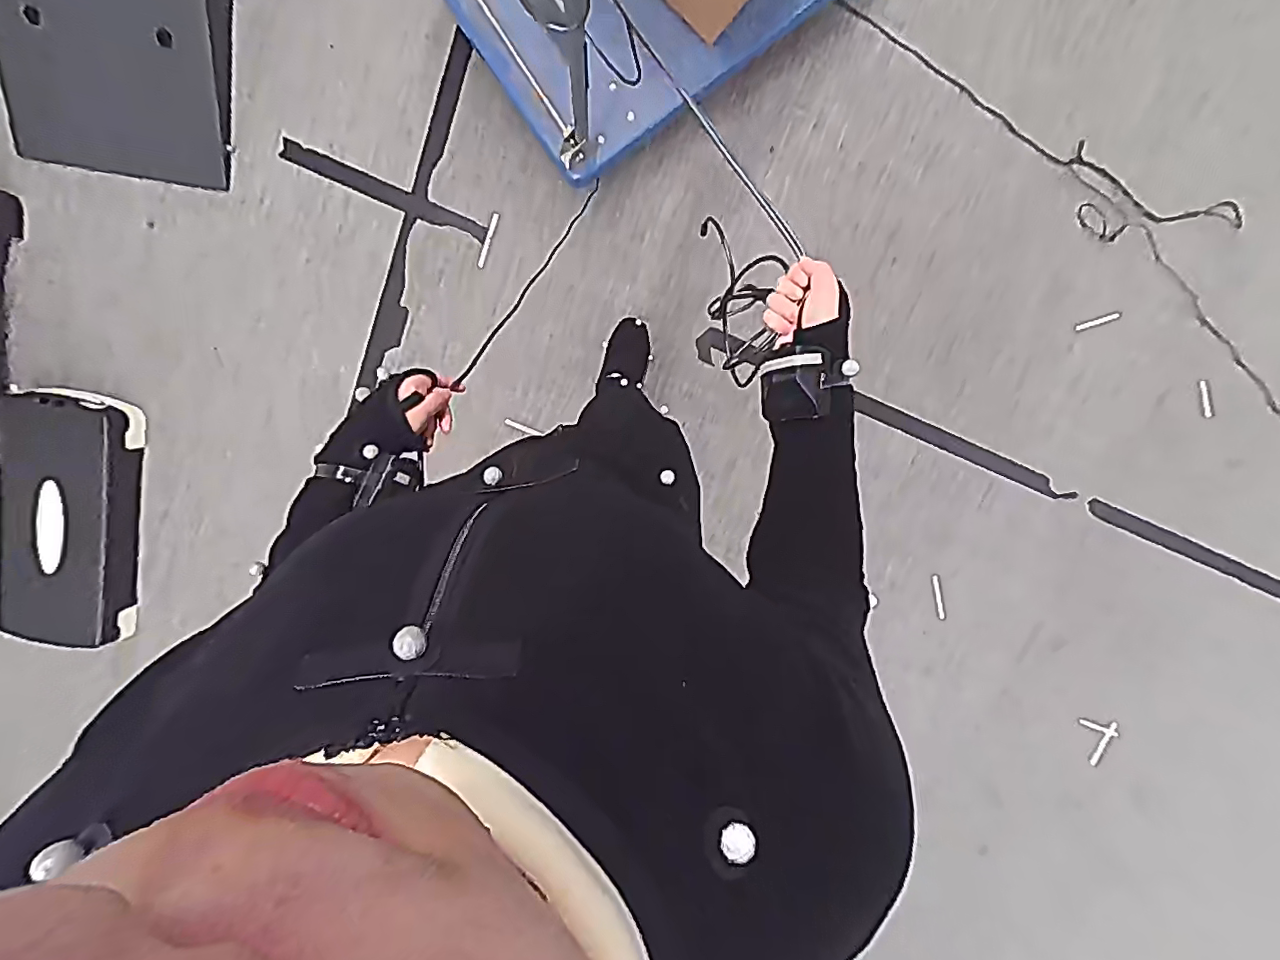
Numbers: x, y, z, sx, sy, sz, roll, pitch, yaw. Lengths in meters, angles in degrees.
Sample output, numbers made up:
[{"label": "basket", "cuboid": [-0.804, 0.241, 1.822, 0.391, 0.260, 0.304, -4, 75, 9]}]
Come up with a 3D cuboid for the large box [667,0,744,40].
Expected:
[{"label": "large box", "cuboid": [0.100, -1.138, 0.959, 0.408, 0.320, 0.320, 39, 97, -9]}]
